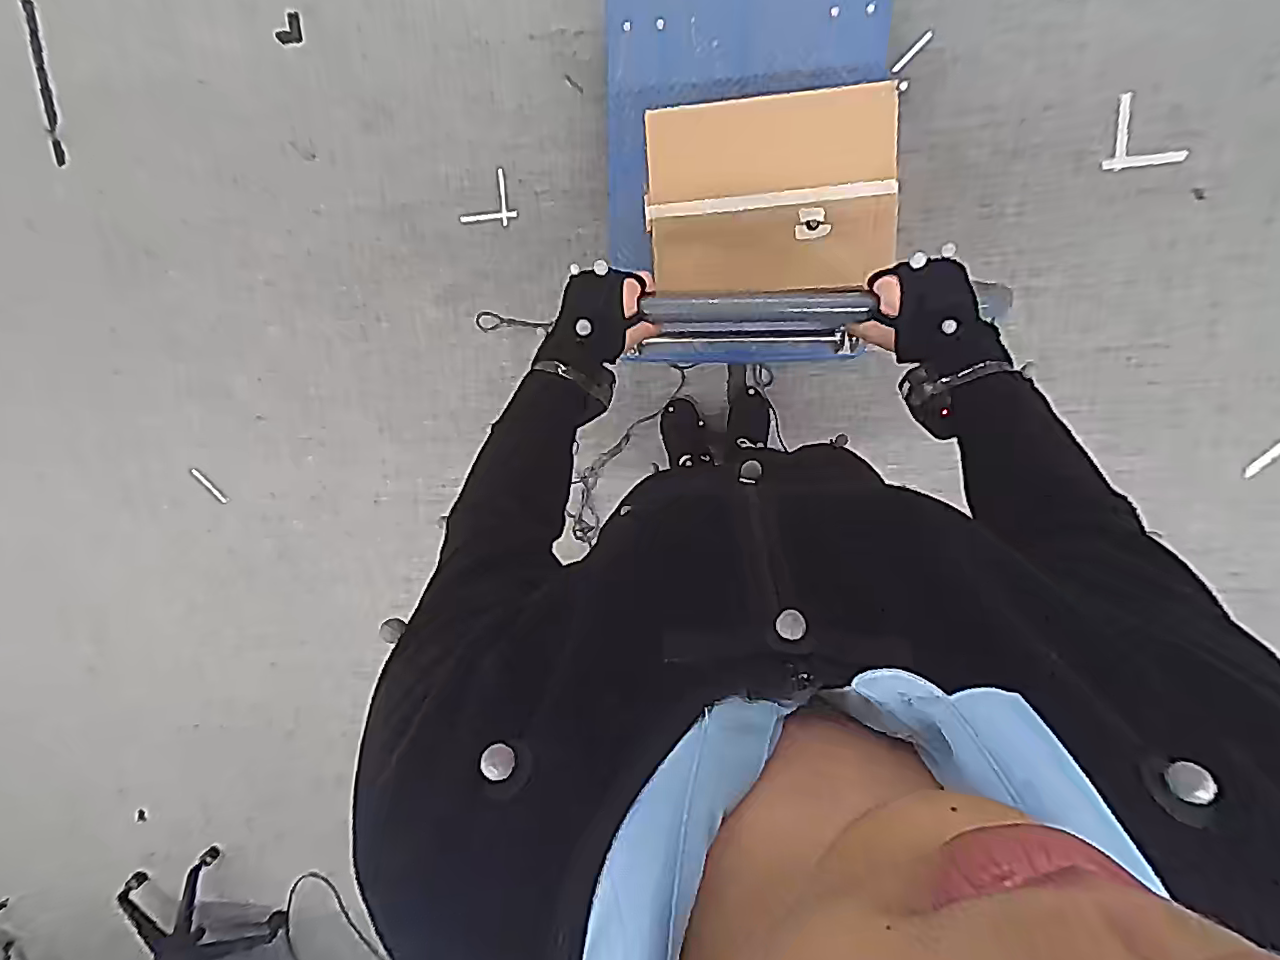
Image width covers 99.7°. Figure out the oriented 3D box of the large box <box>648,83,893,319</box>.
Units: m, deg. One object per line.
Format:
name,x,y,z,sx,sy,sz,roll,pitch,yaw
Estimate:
large box,0.233,-0.505,1.061,0.408,0.320,0.320,-3,102,6
